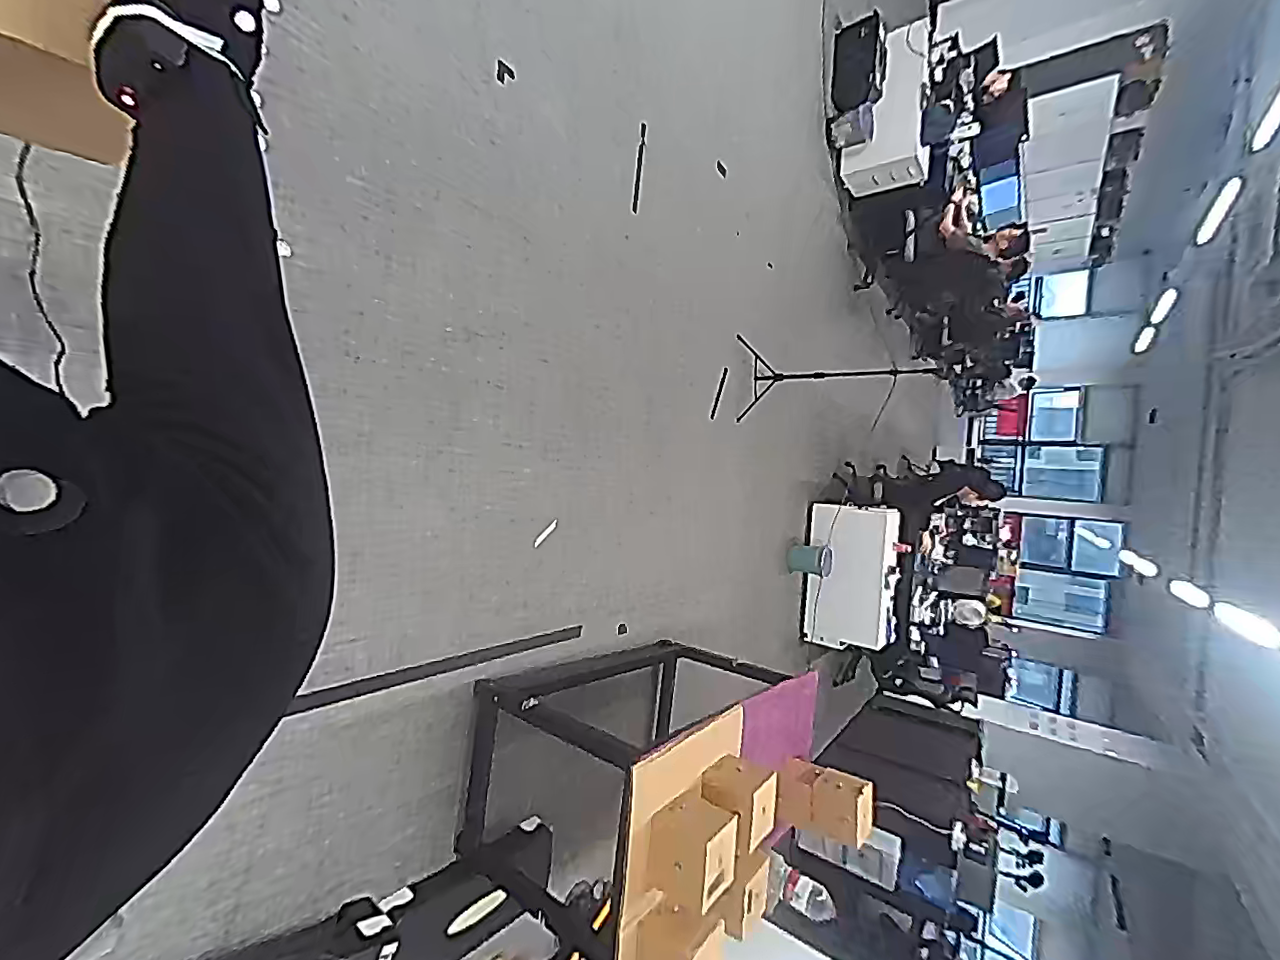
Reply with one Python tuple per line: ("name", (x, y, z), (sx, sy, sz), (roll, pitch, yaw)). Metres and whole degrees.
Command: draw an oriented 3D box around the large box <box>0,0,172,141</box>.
("large box", (-0.606, -0.488, 0.354), (0.408, 0.320, 0.320), (-5, 104, -52))
